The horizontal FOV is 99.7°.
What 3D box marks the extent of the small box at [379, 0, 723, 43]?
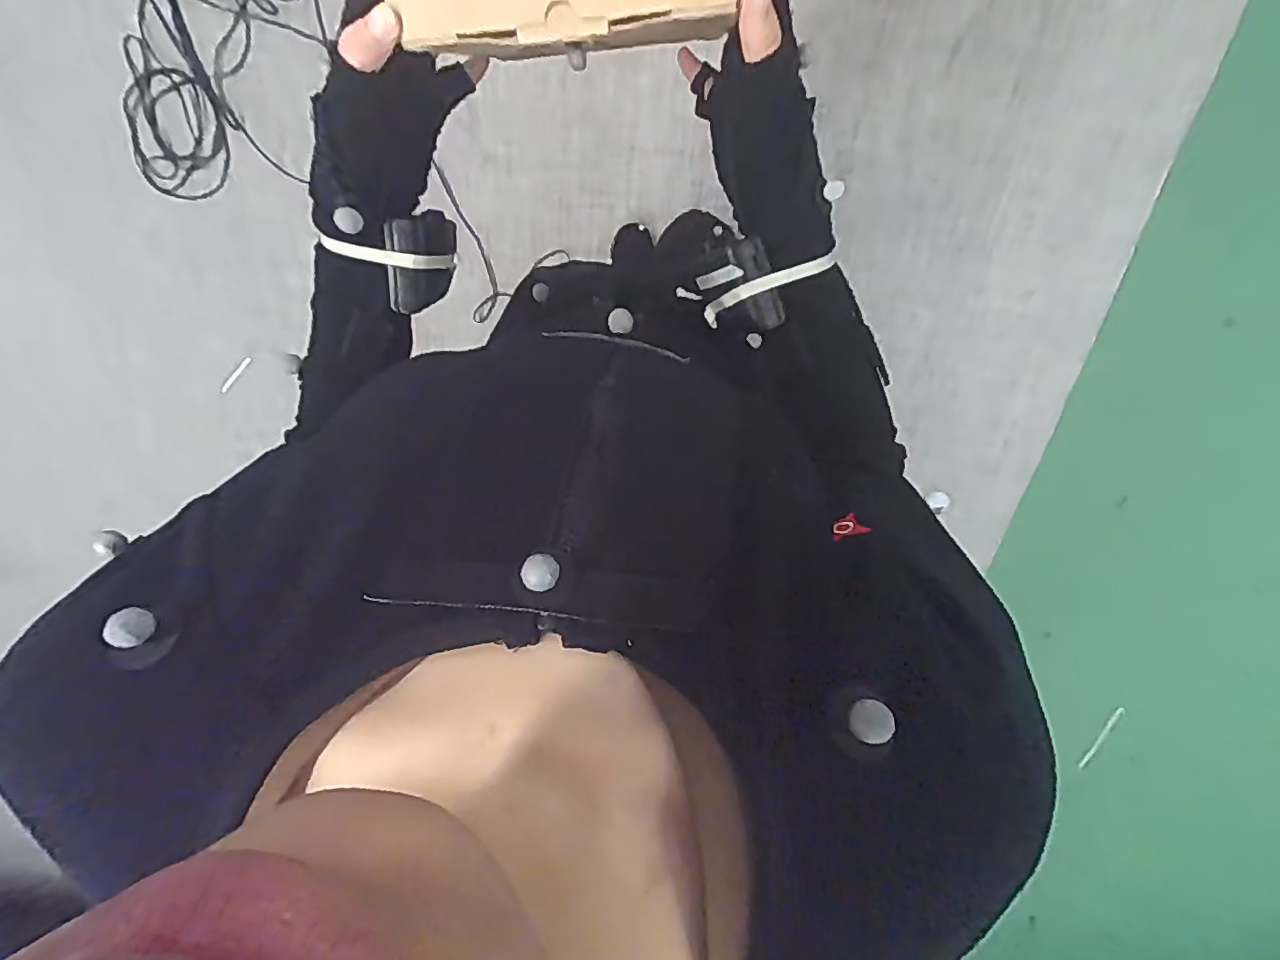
[{"bbox_3d":[-0.040,-0.335,0.261,0.168,0.176,0.179,0,127,7],"label":"small box"}]
